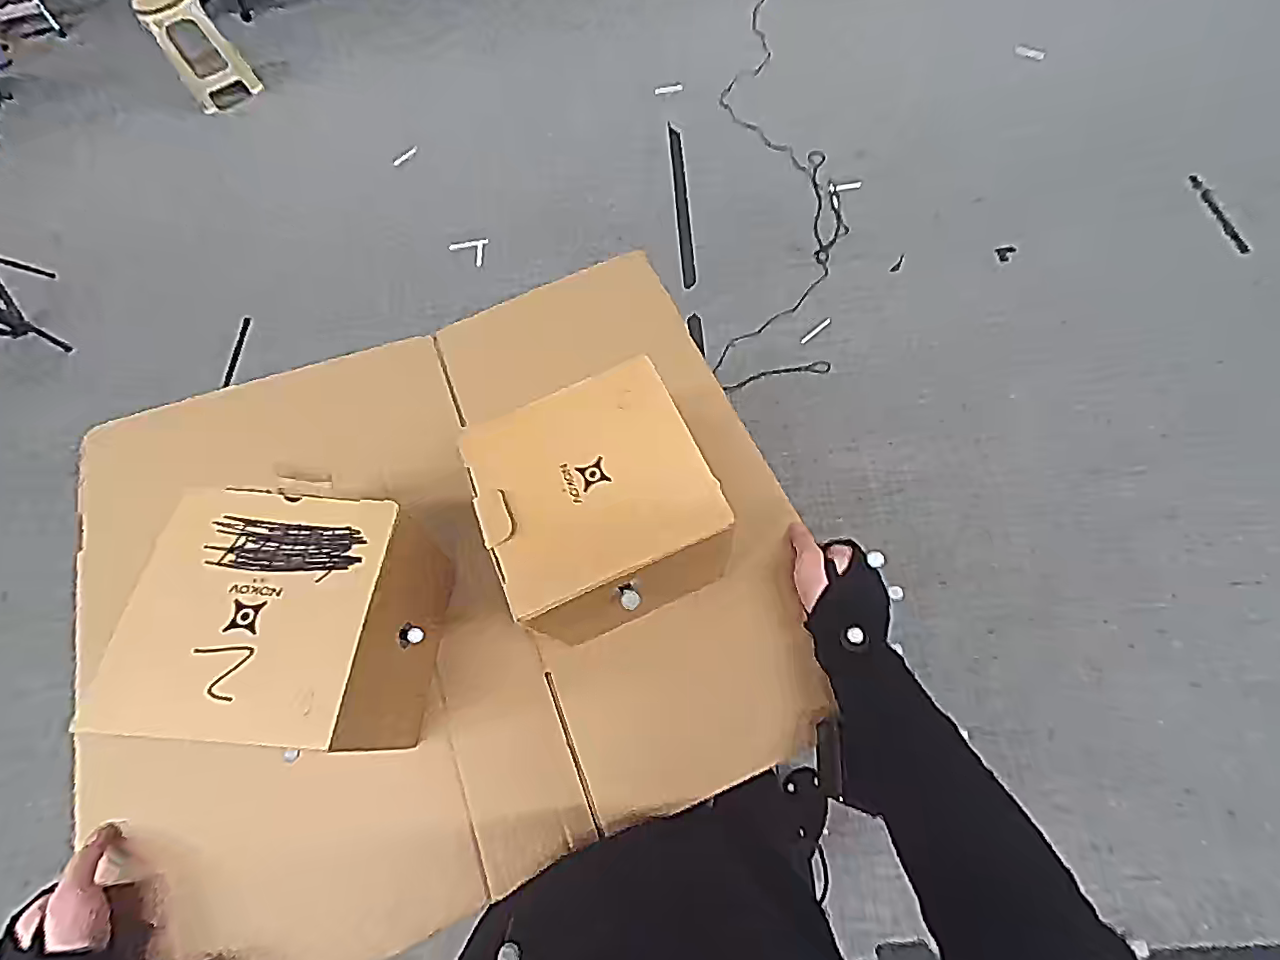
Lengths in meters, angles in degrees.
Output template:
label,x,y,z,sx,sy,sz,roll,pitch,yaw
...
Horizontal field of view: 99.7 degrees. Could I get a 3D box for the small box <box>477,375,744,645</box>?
label,x,y,z,sx,sy,sz,roll,pitch,yaw
small box,-0.022,0.039,0.504,0.179,0.176,0.168,-24,67,-2
